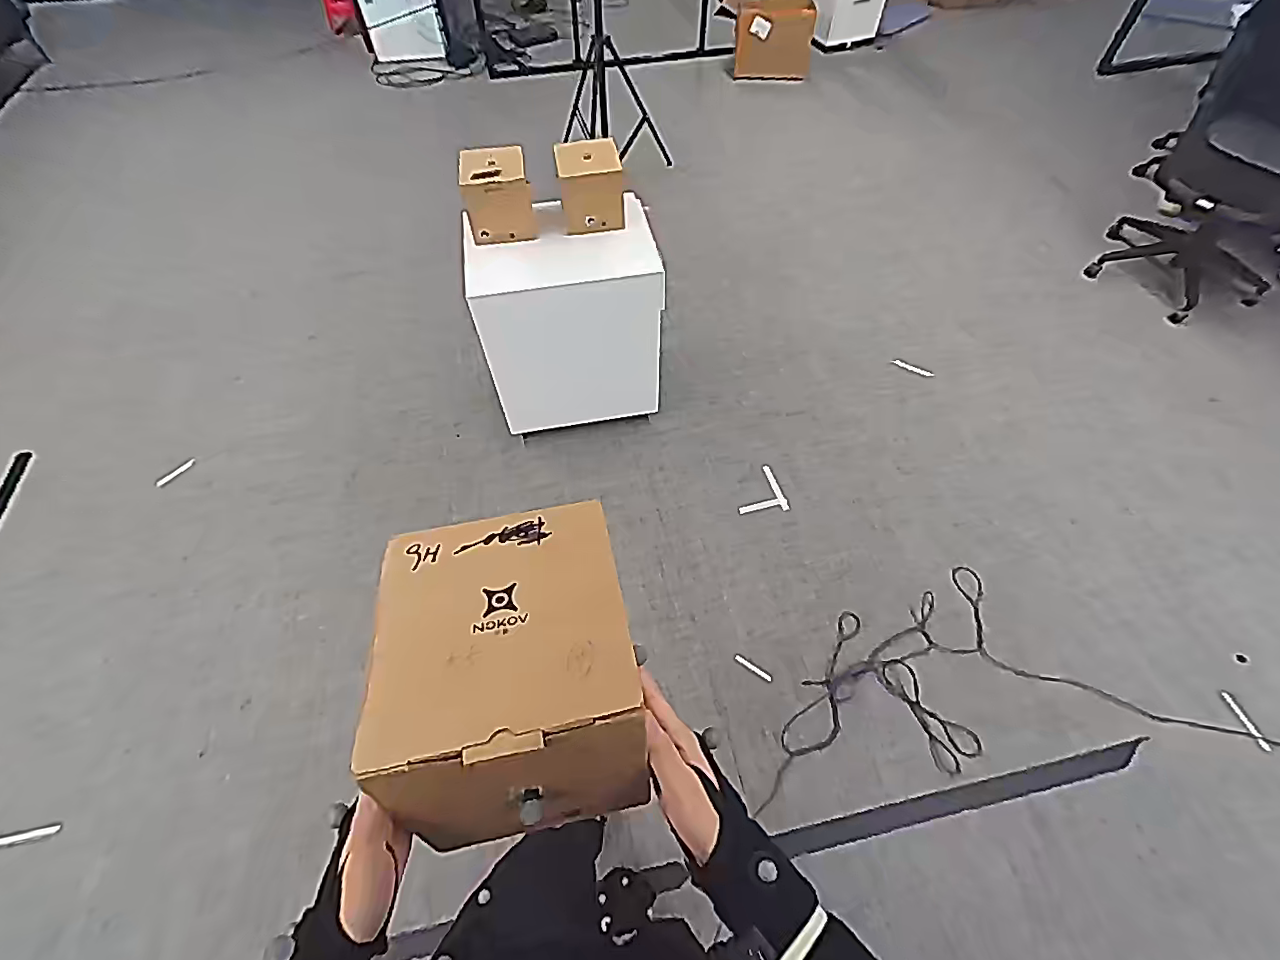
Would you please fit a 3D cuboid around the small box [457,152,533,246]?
[{"bbox_3d":[-0.389,-0.754,1.465,0.168,0.176,0.179,-8,56,-6],"label":"small box"}]

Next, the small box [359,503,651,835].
[{"bbox_3d":[-0.087,0.147,0.414,0.168,0.176,0.179,-9,45,-8],"label":"small box"}]

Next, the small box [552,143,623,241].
[{"bbox_3d":[-0.142,-0.792,1.490,0.168,0.176,0.179,-11,58,-5],"label":"small box"}]
